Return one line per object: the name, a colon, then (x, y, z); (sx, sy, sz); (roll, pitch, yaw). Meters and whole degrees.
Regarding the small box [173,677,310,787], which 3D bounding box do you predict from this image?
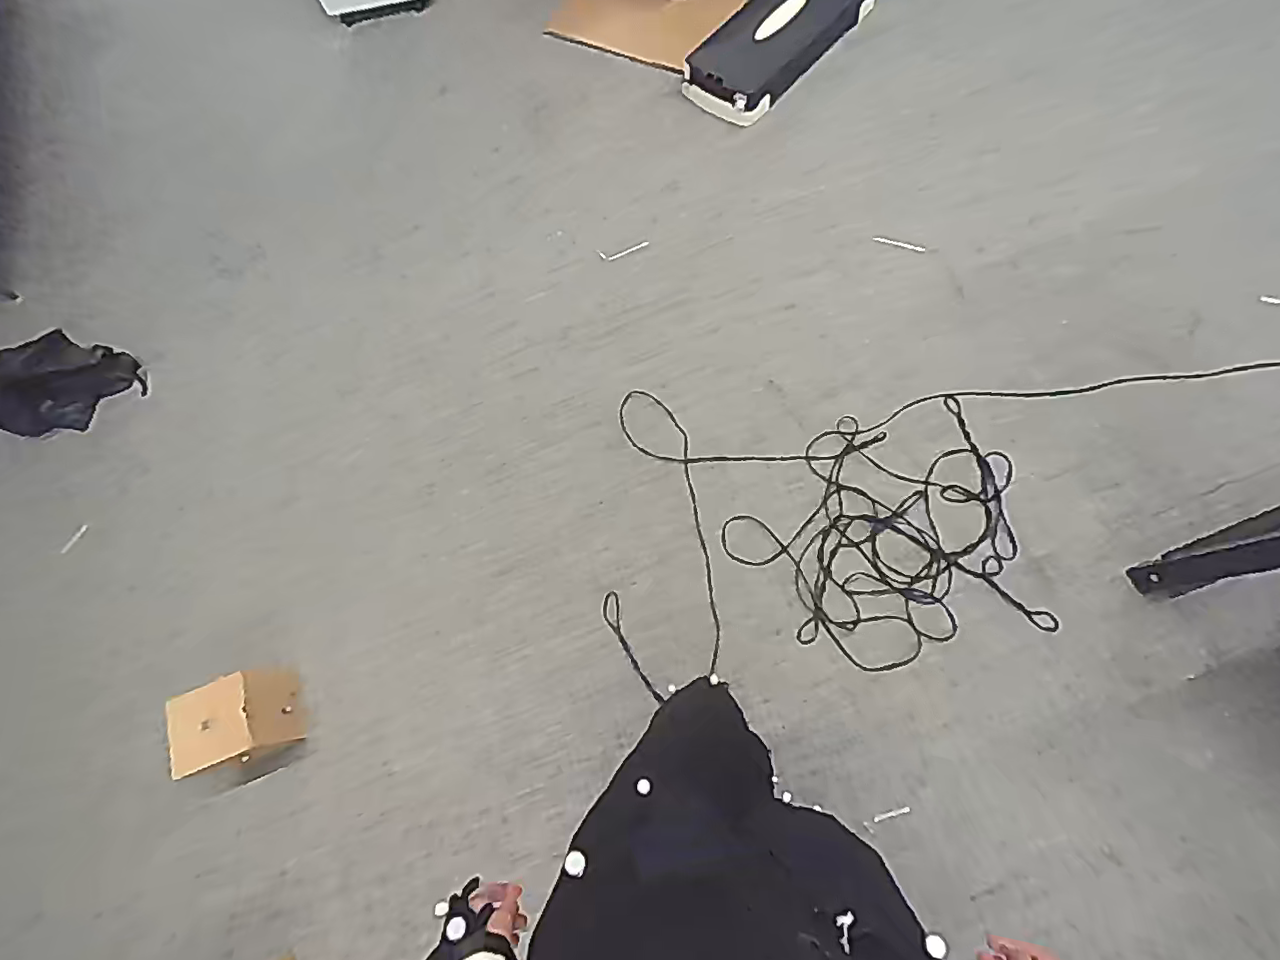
small box: (-0.879, 0.552, 1.200); (0.179, 0.176, 0.168); (-23, 69, -2)
